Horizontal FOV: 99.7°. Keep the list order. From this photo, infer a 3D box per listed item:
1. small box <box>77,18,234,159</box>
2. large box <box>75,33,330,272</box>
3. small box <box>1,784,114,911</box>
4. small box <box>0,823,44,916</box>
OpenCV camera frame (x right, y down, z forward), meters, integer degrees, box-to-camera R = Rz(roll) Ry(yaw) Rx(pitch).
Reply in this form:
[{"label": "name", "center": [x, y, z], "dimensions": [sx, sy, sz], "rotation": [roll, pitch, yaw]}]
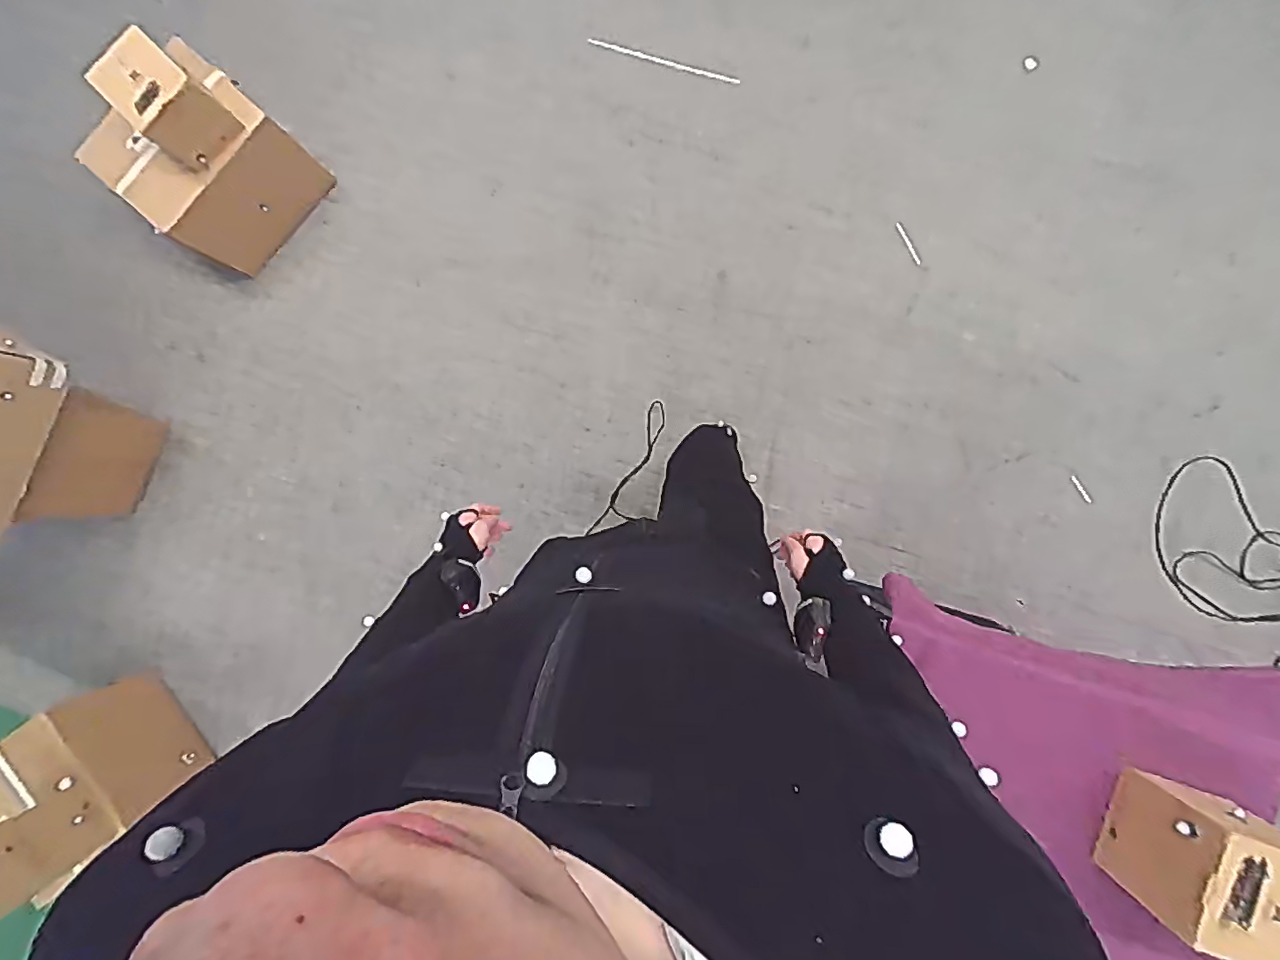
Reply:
[{"label": "small box", "center": [-1.104, -0.886, 1.250], "dimensions": [0.179, 0.176, 0.168], "rotation": [45, 91, -1]}, {"label": "large box", "center": [-1.176, -0.872, 1.498], "dimensions": [0.320, 0.320, 0.408], "rotation": [41, 92, 1]}, {"label": "small box", "center": [-1.429, 0.873, 1.279], "dimensions": [0.179, 0.176, 0.168], "rotation": [-37, 90, 0]}, {"label": "small box", "center": [-1.423, 0.867, 1.115], "dimensions": [0.179, 0.176, 0.168], "rotation": [-38, 89, 1]}]
